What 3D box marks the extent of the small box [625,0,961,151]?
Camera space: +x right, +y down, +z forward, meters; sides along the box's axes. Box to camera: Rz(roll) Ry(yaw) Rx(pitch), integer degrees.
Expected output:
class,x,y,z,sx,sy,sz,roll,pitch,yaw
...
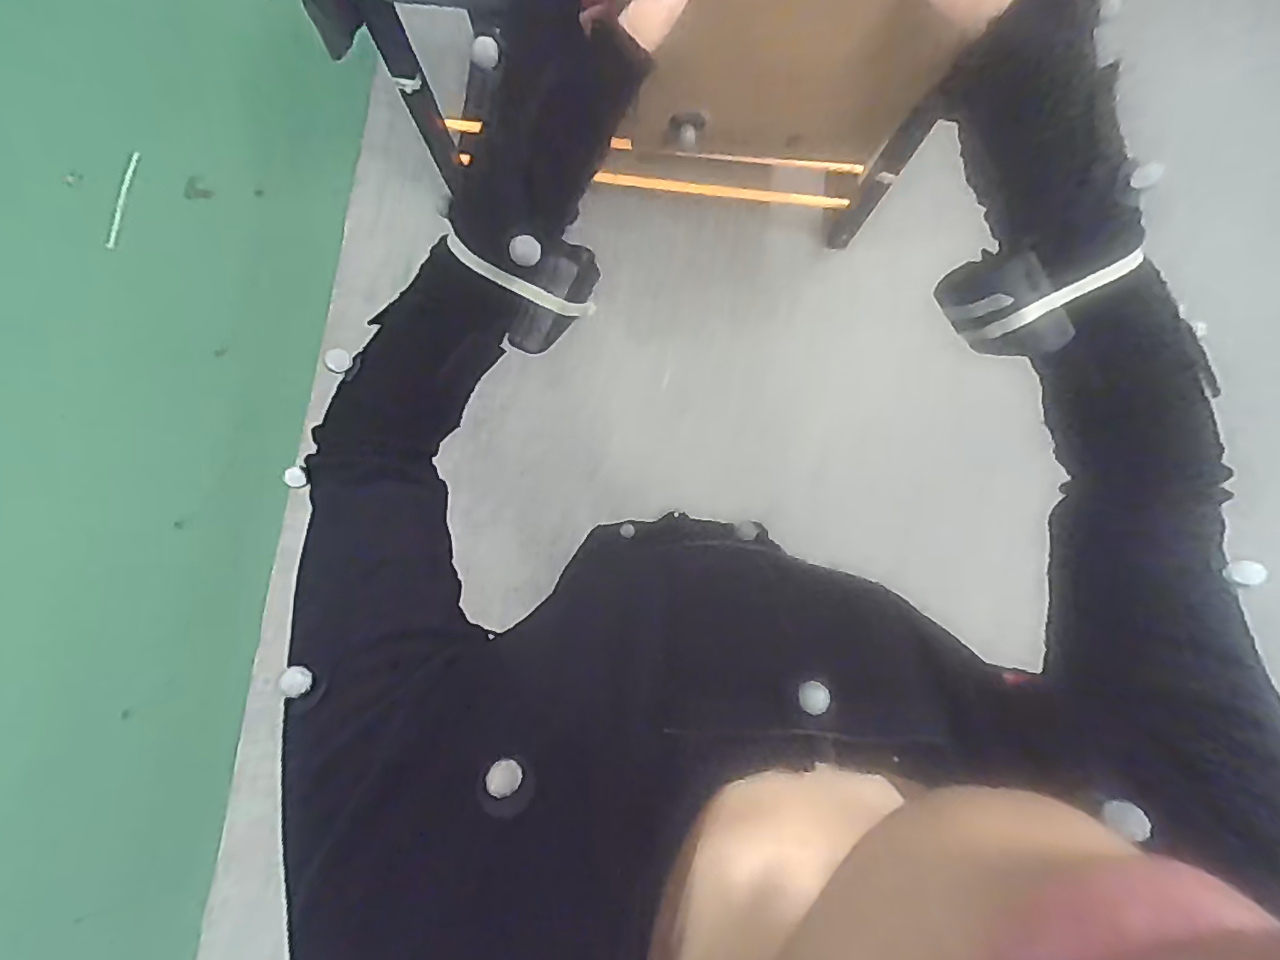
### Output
class,x,y,z,sx,sy,sz,roll,pitch,yaw
small box,0.081,-0.312,0.289,0.168,0.176,0.179,1,87,-5
